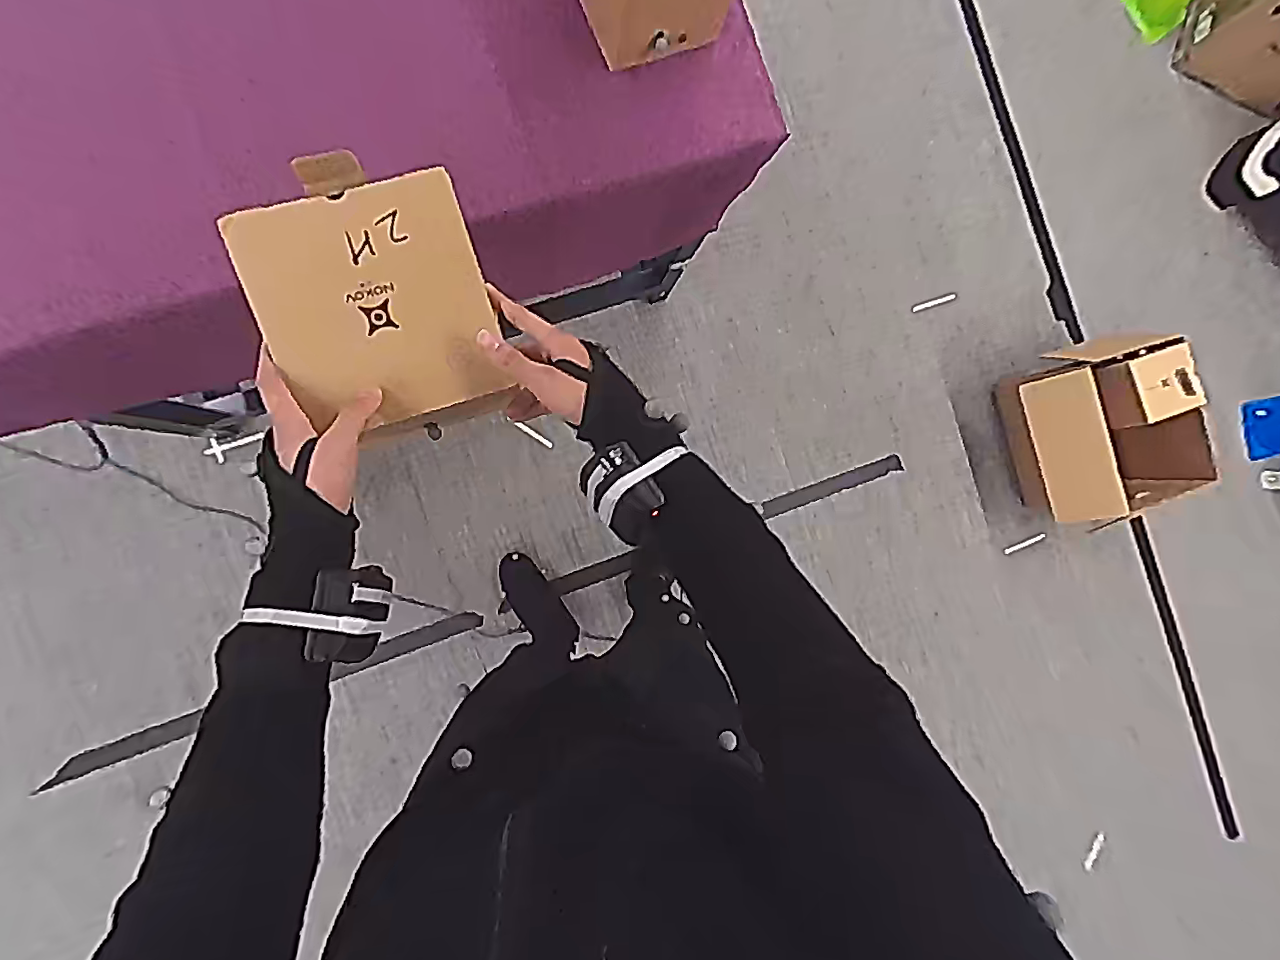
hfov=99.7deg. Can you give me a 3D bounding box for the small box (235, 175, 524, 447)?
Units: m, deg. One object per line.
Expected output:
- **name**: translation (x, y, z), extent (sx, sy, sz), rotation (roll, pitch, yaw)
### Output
- **small box**: translation (-0.210, -0.136, 0.494), extent (0.168, 0.176, 0.179), rotation (-18, 96, -9)

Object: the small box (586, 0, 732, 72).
- **small box**: translation (0.015, -0.662, 0.664), extent (0.168, 0.176, 0.179), rotation (-23, 93, -8)
